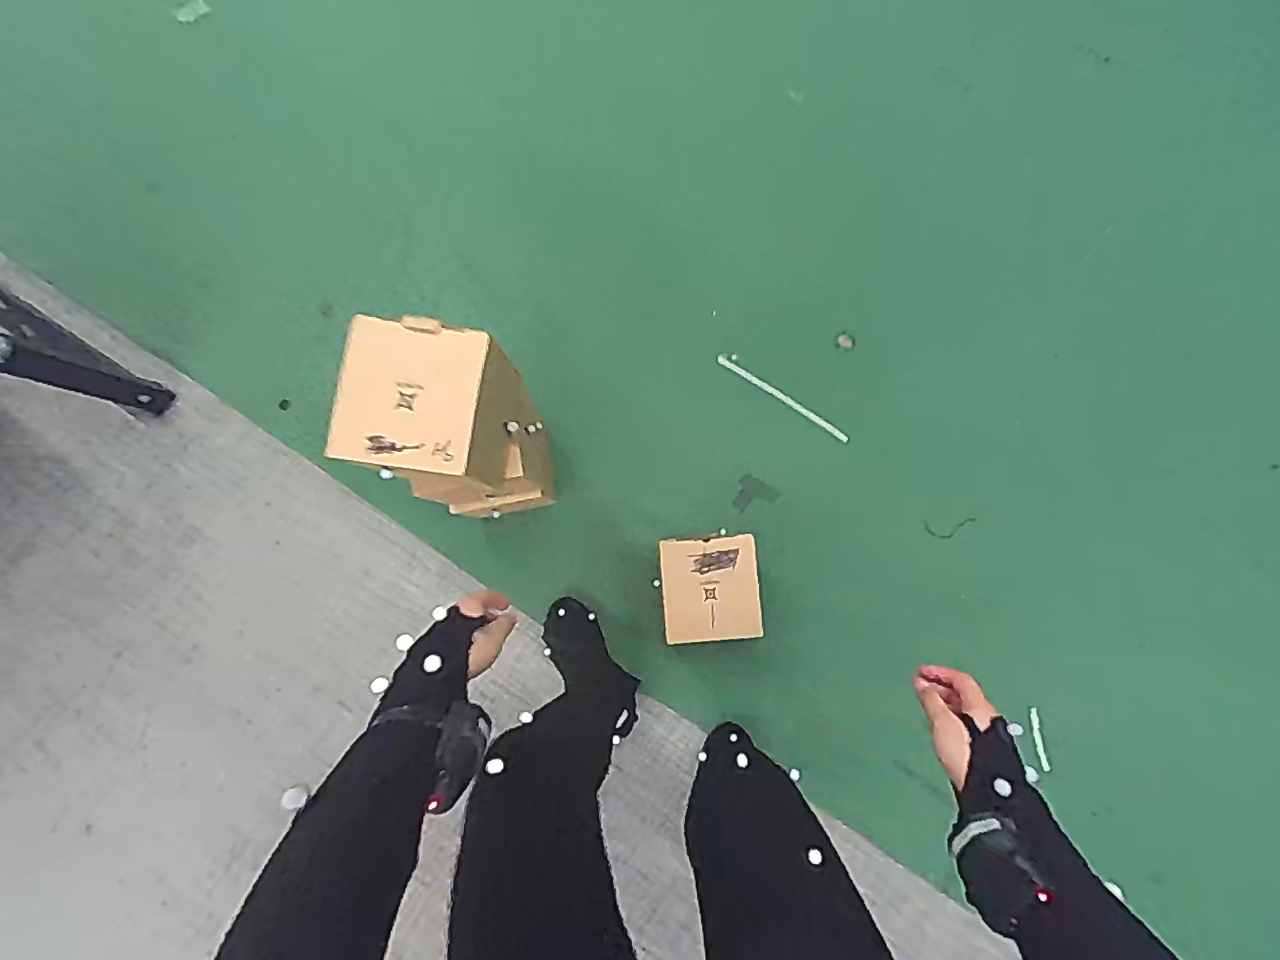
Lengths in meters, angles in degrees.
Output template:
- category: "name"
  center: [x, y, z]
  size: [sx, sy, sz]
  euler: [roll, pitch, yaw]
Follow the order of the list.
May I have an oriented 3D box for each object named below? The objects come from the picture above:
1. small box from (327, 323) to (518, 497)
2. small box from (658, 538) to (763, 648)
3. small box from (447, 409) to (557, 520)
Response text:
- category: "small box"
  center: [-0.267, -0.081, 0.710]
  size: [0.168, 0.176, 0.179]
  euler: [8, 83, 3]
- category: "small box"
  center: [0.121, 0.201, 0.997]
  size: [0.168, 0.176, 0.179]
  euler: [-5, 84, 0]
- category: "small box"
  center: [-0.264, -0.021, 1.033]
  size: [0.168, 0.176, 0.179]
  euler: [-11, 82, 0]
